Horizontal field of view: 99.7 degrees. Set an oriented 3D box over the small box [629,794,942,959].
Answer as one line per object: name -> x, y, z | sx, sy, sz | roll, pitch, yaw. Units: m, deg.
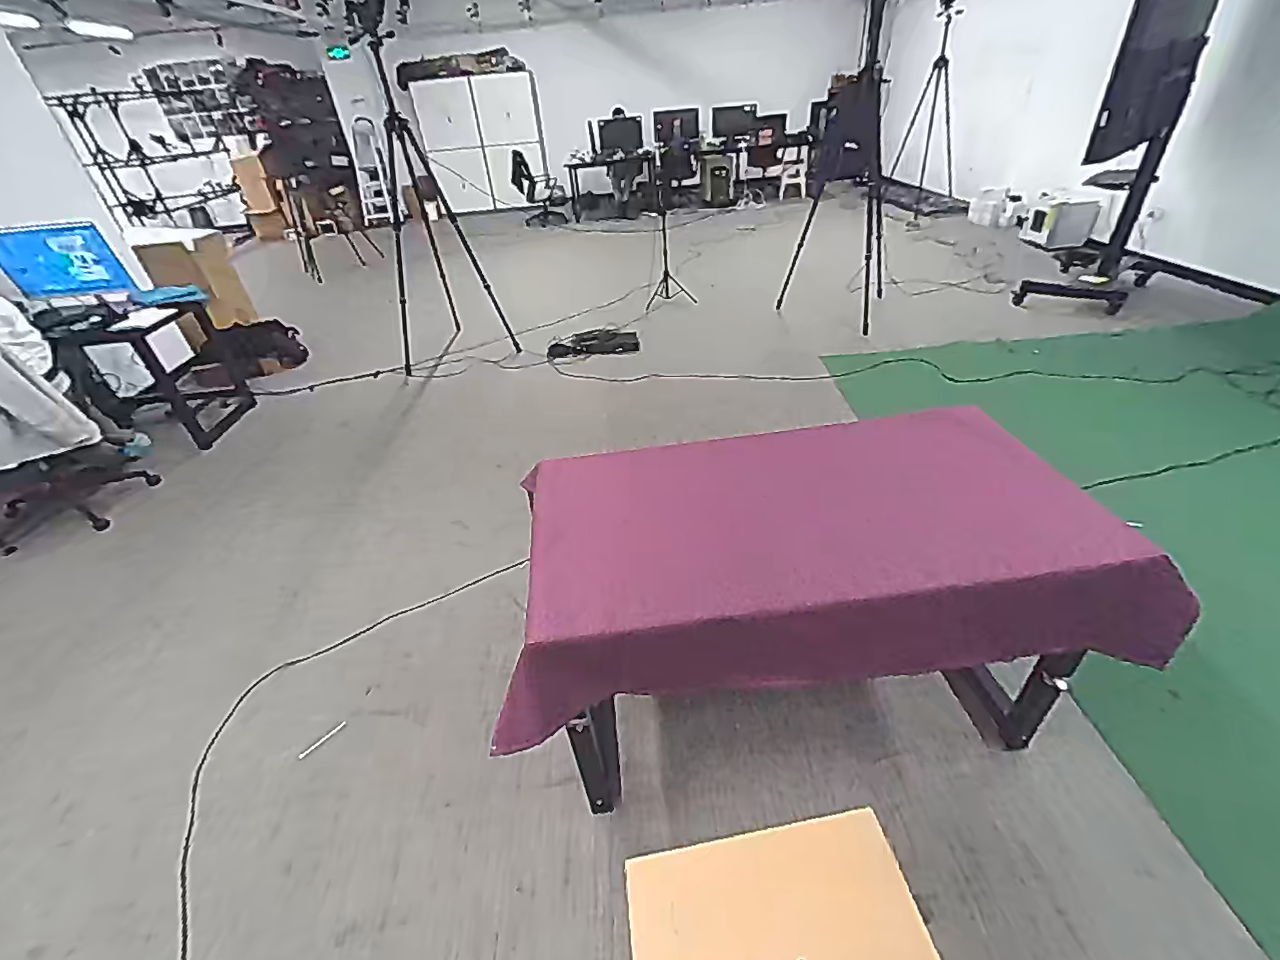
small box -> 0.095, 0.336, 0.329 | 0.168, 0.176, 0.179 | -14, 33, 1
